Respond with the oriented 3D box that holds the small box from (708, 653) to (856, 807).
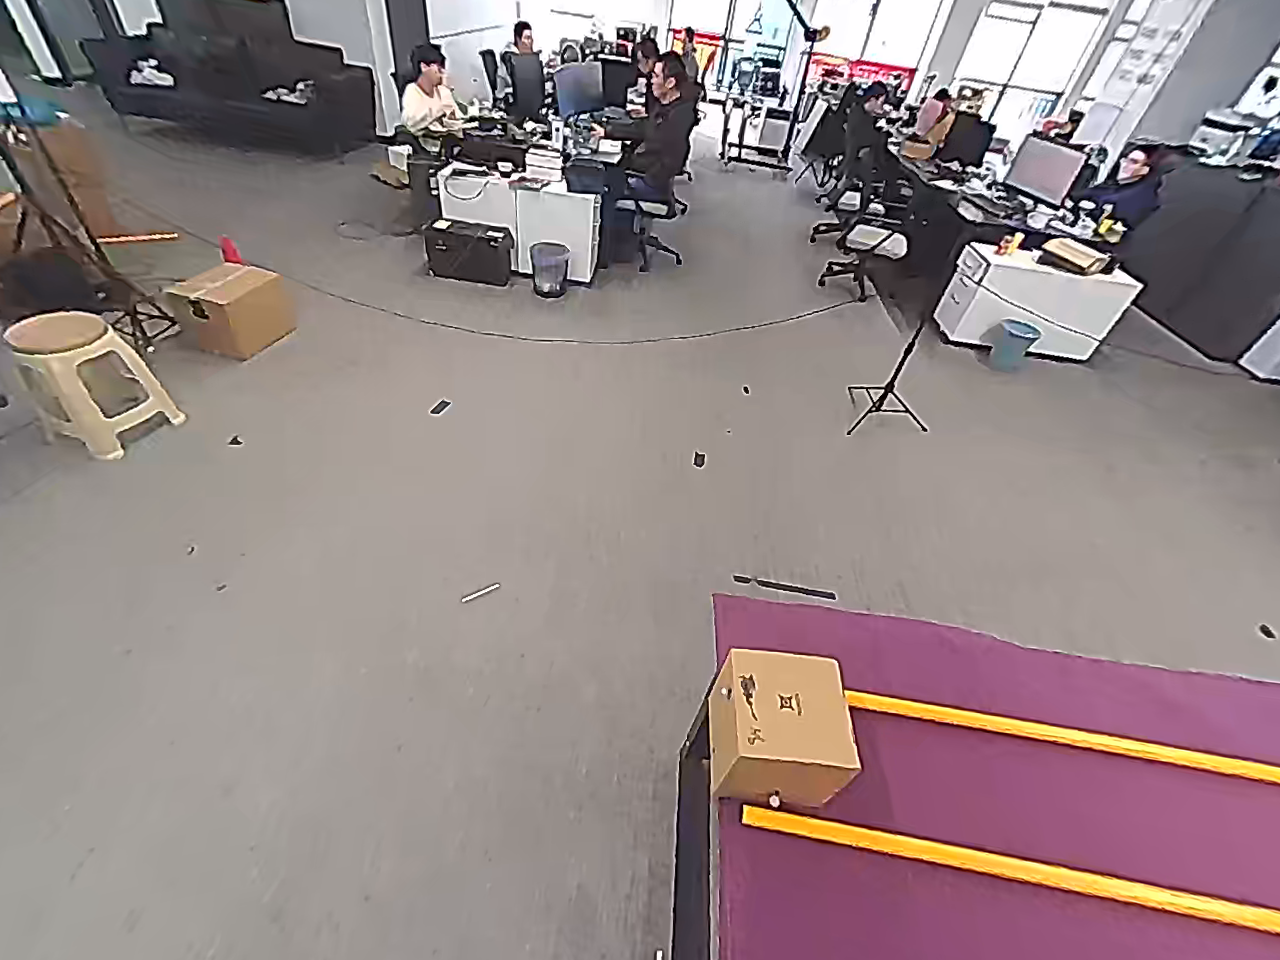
[{"bbox_3d":[0.213,0.403,0.864,0.179,0.176,0.168,8,43,-2],"label":"small box"}]
